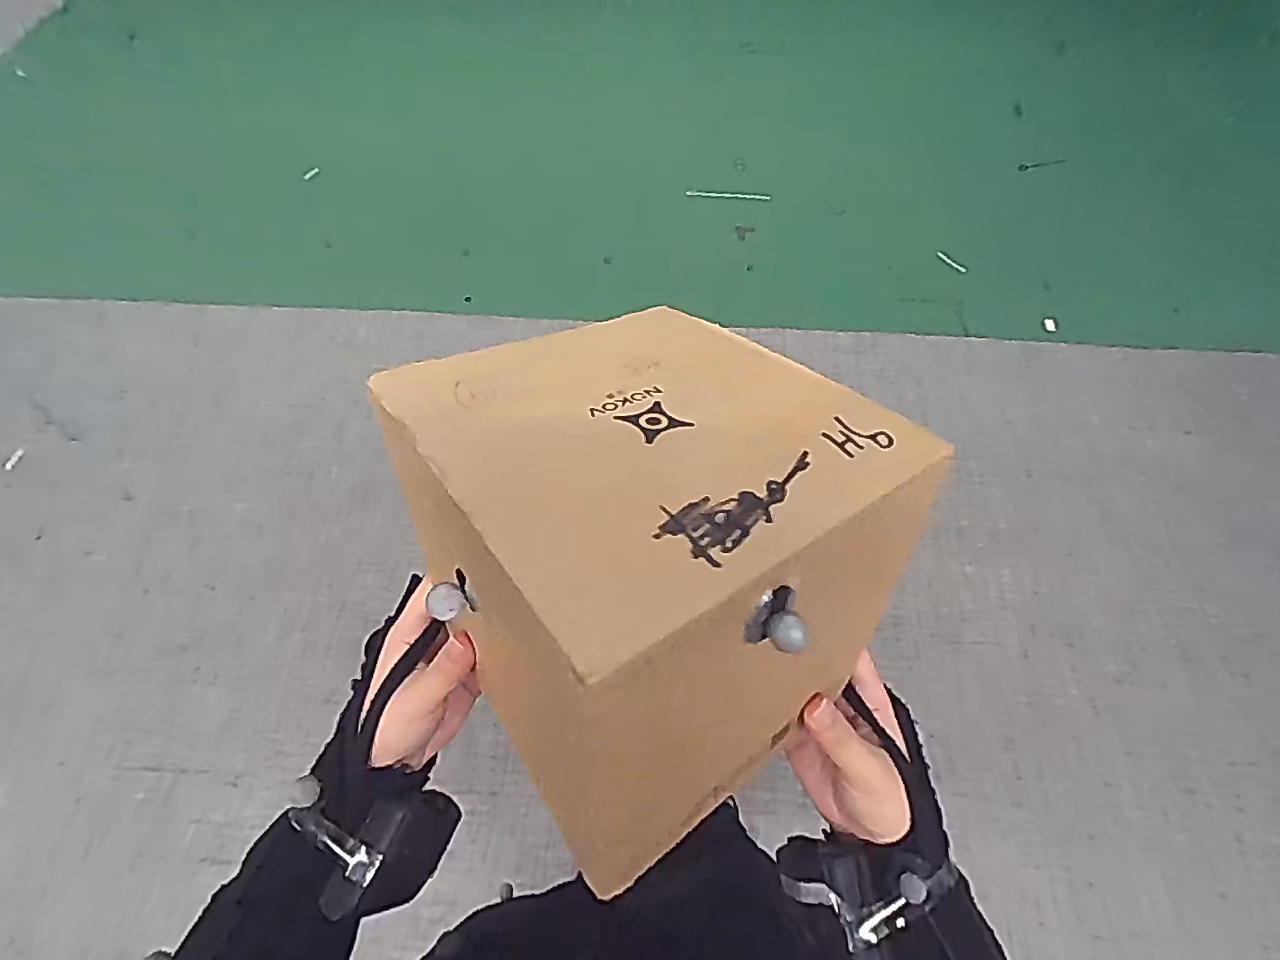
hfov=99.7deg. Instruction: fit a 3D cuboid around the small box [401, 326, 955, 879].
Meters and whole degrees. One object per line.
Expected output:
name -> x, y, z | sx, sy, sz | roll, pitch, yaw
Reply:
small box -> 0.007, 0.044, 0.273 | 0.168, 0.176, 0.179 | -25, 44, -29
